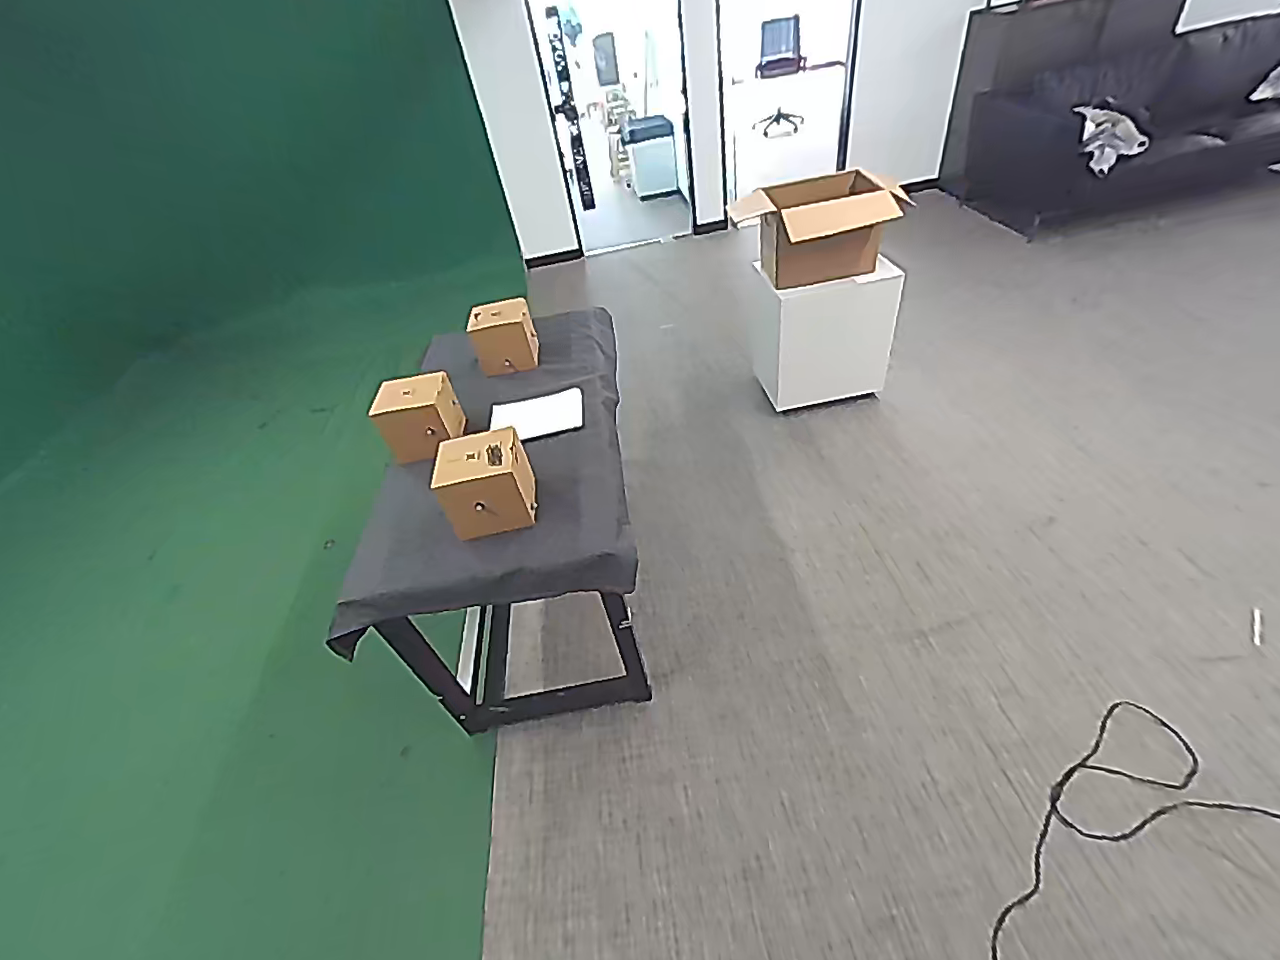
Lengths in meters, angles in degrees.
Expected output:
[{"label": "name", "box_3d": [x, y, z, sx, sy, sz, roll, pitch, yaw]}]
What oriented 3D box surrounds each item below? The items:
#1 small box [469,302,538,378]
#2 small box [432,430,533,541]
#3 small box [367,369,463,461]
[{"label": "small box", "box_3d": [-0.435, -0.452, 1.755, 0.179, 0.176, 0.168, -9, 42, 0]}, {"label": "small box", "box_3d": [-0.347, 0.014, 1.230, 0.179, 0.176, 0.168, -12, 41, -1]}, {"label": "small box", "box_3d": [-0.598, -0.175, 1.466, 0.179, 0.176, 0.168, -11, 41, 0]}]
